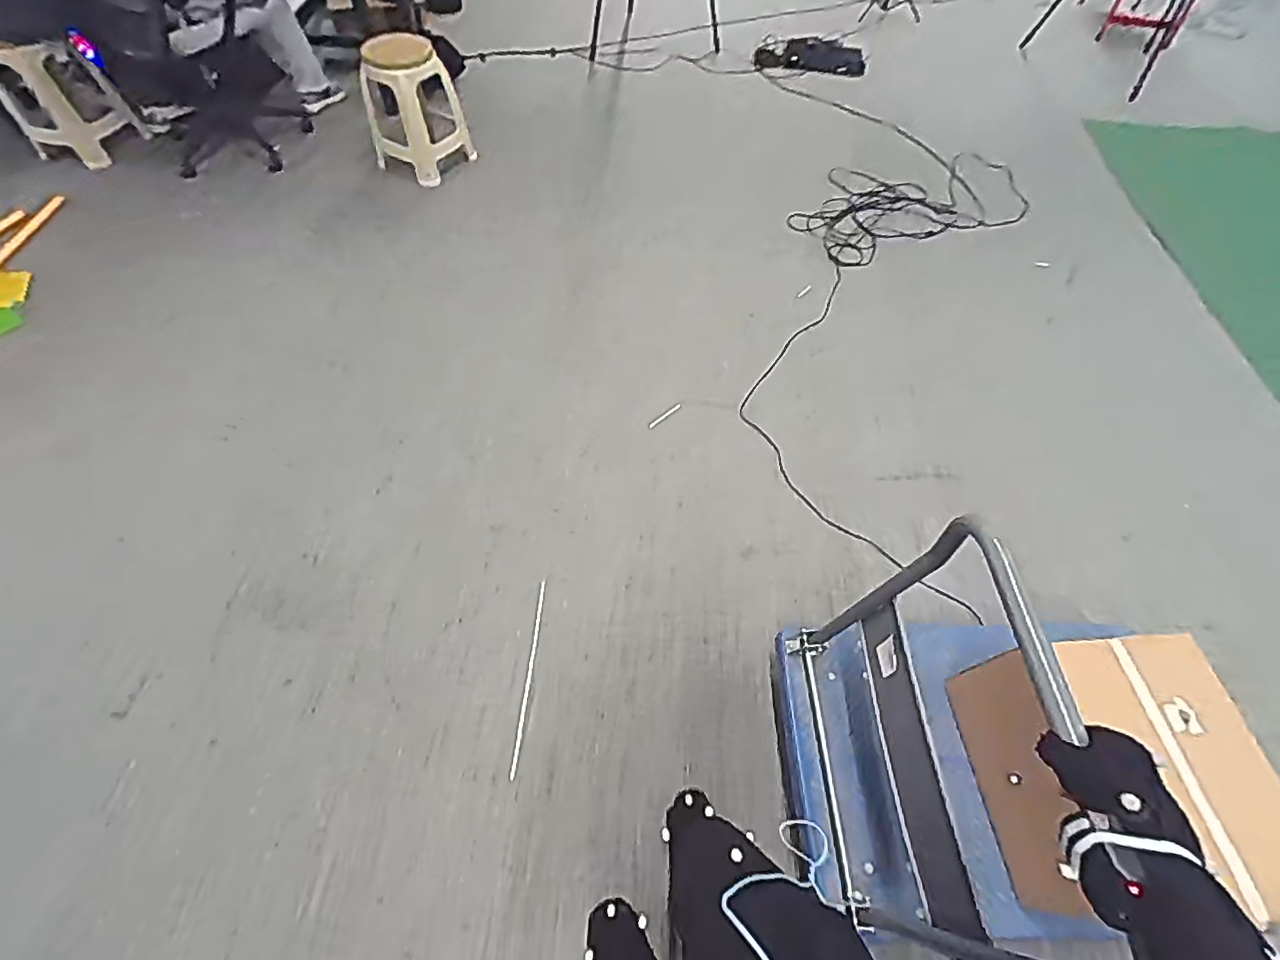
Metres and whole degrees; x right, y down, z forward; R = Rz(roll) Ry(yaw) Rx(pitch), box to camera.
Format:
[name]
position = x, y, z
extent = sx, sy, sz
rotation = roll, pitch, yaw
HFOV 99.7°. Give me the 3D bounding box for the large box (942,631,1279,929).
[large box]
position = 0.841, 0.532, 0.993
extent = 0.320, 0.320, 0.408
rotation = -3, 57, -4
